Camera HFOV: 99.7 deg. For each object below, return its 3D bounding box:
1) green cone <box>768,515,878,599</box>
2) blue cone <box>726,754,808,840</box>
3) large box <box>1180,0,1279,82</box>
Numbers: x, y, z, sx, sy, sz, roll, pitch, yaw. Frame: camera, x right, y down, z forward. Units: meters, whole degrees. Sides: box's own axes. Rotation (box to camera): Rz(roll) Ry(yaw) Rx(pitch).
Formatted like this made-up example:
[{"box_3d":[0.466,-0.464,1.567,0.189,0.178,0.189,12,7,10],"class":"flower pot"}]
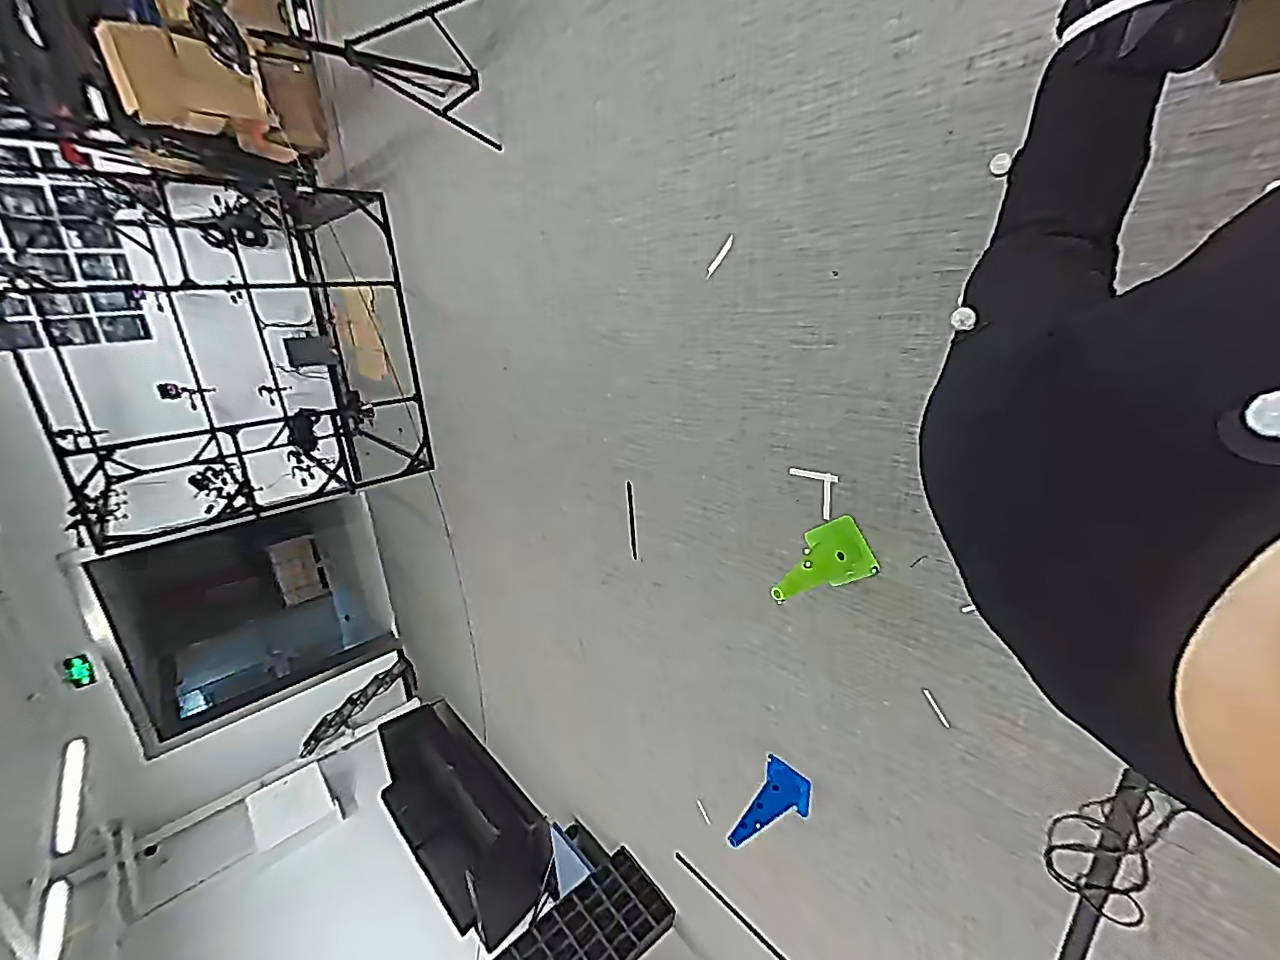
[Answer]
[{"box_3d":[0.516,0.269,1.639,0.202,0.368,0.200,-40,73,52],"class":"green cone"},{"box_3d":[0.482,1.289,2.128,0.192,0.380,0.193,23,121,45],"class":"blue cone"},{"box_3d":[0.578,-0.455,0.256,0.408,0.320,0.320,17,120,45],"class":"large box"}]
